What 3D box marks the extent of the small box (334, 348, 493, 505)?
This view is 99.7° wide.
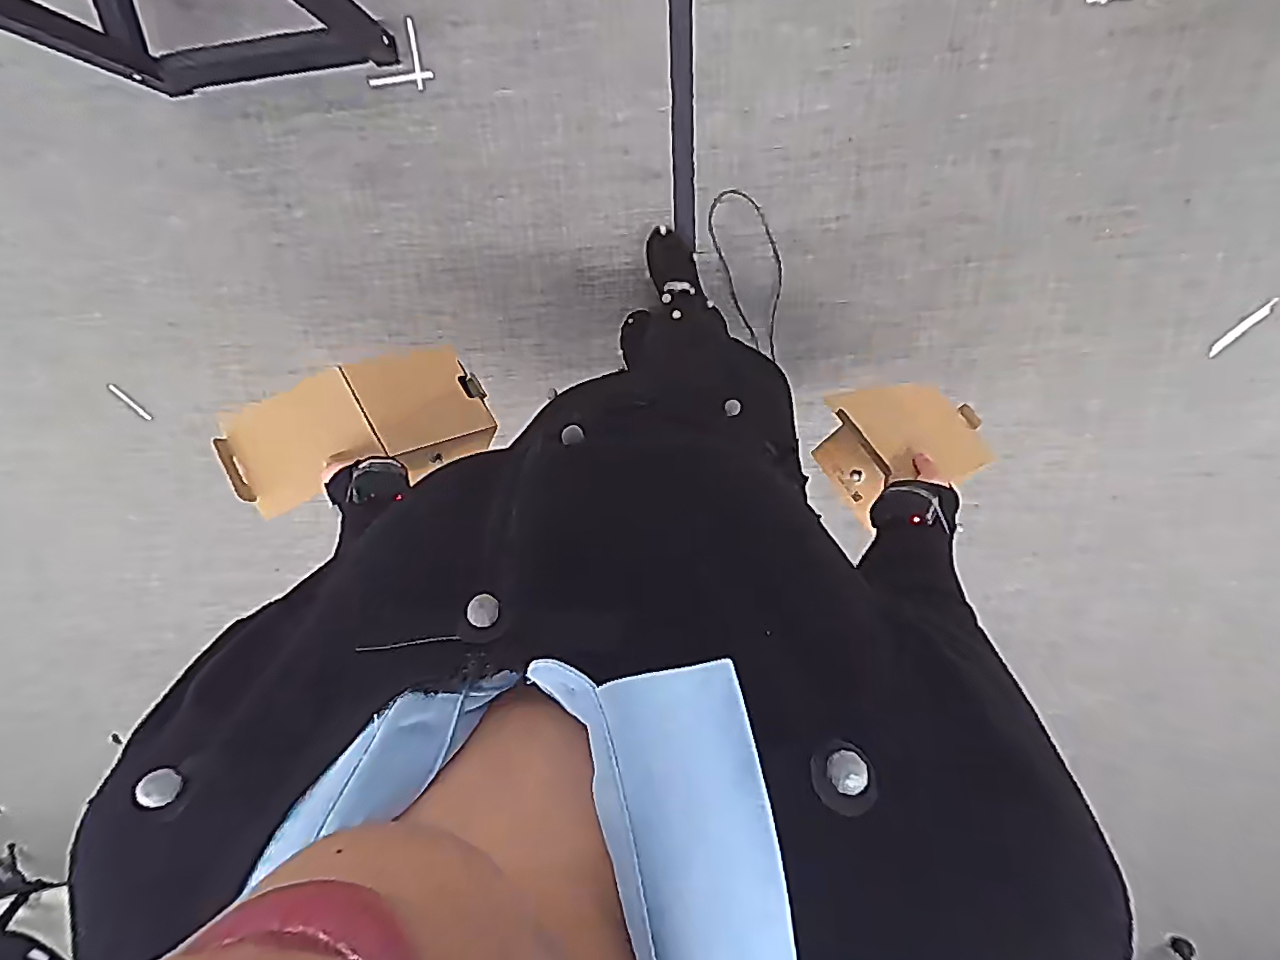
[{"bbox_3d":[-0.364,-0.082,0.862,0.168,0.179,0.176,58,141,11],"label":"small box"}]
